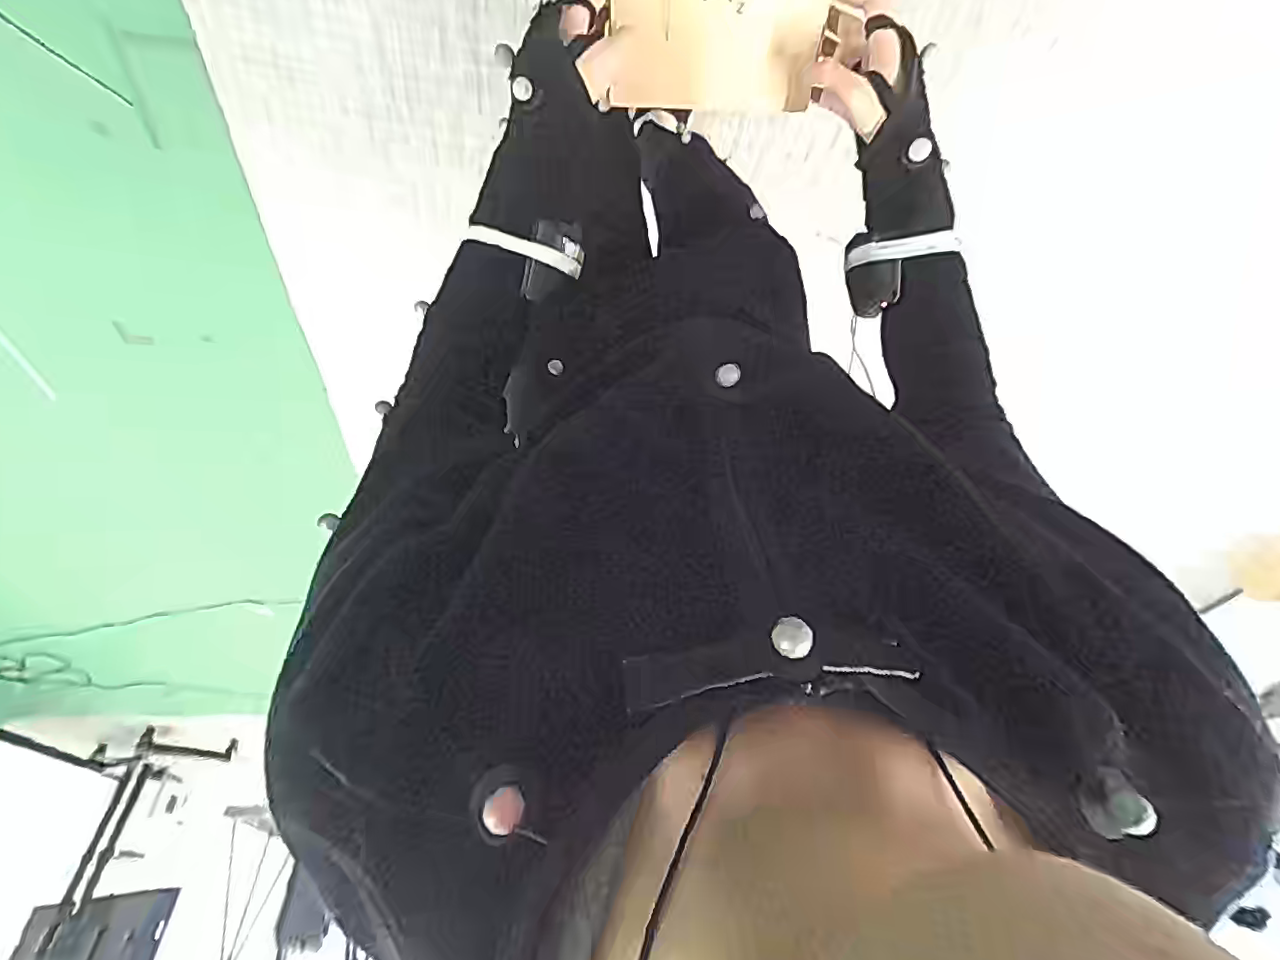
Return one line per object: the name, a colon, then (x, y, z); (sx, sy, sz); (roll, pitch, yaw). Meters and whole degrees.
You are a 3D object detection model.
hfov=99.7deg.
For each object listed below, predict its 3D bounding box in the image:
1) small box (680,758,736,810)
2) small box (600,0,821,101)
small box: (0.284, 1.289, 2.291); (0.179, 0.176, 0.168); (13, 137, -17)
small box: (0.056, -0.452, 0.469); (0.179, 0.176, 0.168); (0, 136, -5)
